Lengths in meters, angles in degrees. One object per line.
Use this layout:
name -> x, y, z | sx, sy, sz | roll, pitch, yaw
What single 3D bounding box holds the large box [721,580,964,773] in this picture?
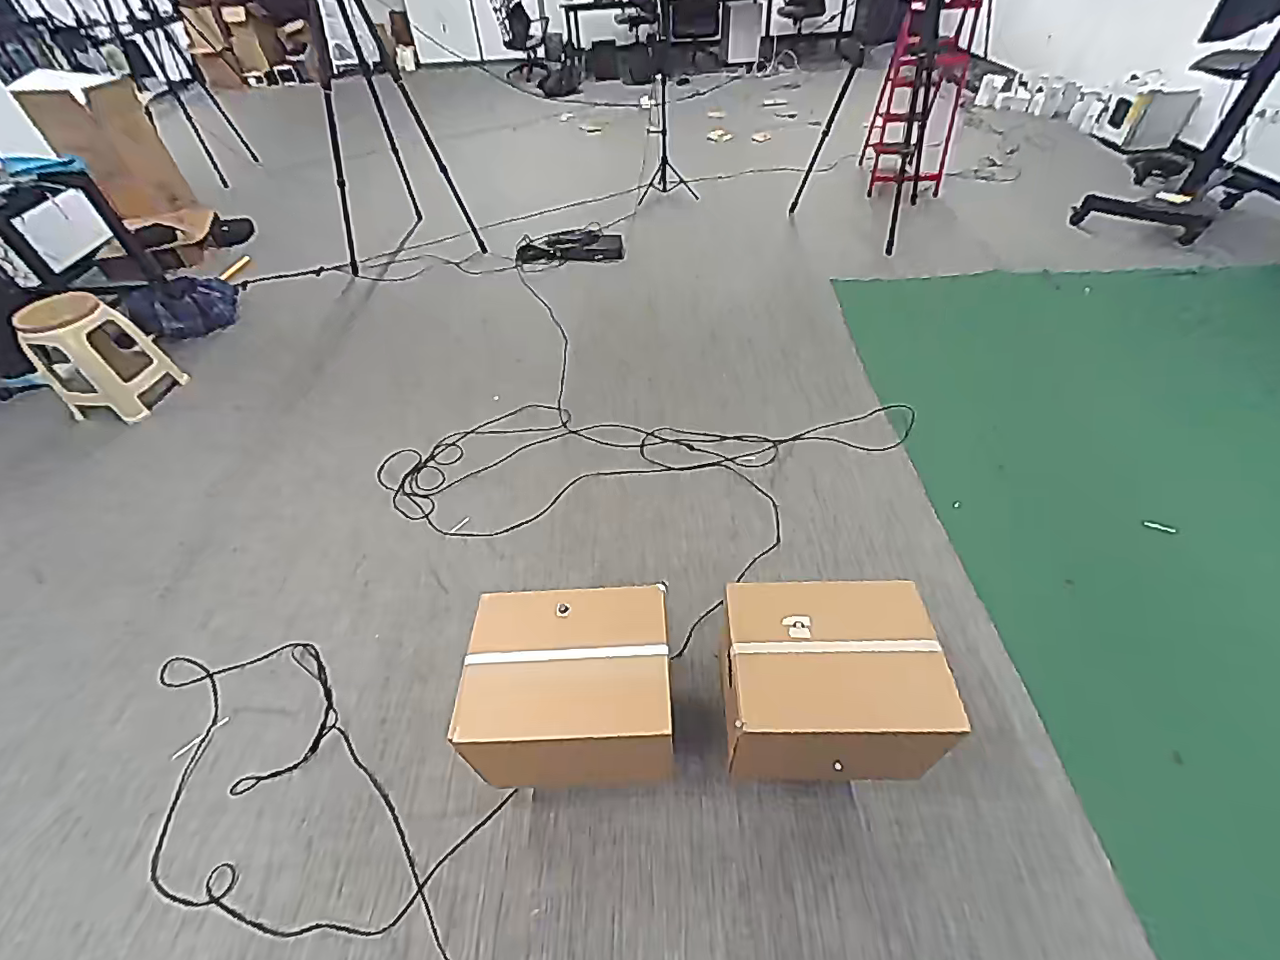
large box -> 0.398, 0.437, 1.186 | 0.408, 0.320, 0.320 | -1, 47, 3
